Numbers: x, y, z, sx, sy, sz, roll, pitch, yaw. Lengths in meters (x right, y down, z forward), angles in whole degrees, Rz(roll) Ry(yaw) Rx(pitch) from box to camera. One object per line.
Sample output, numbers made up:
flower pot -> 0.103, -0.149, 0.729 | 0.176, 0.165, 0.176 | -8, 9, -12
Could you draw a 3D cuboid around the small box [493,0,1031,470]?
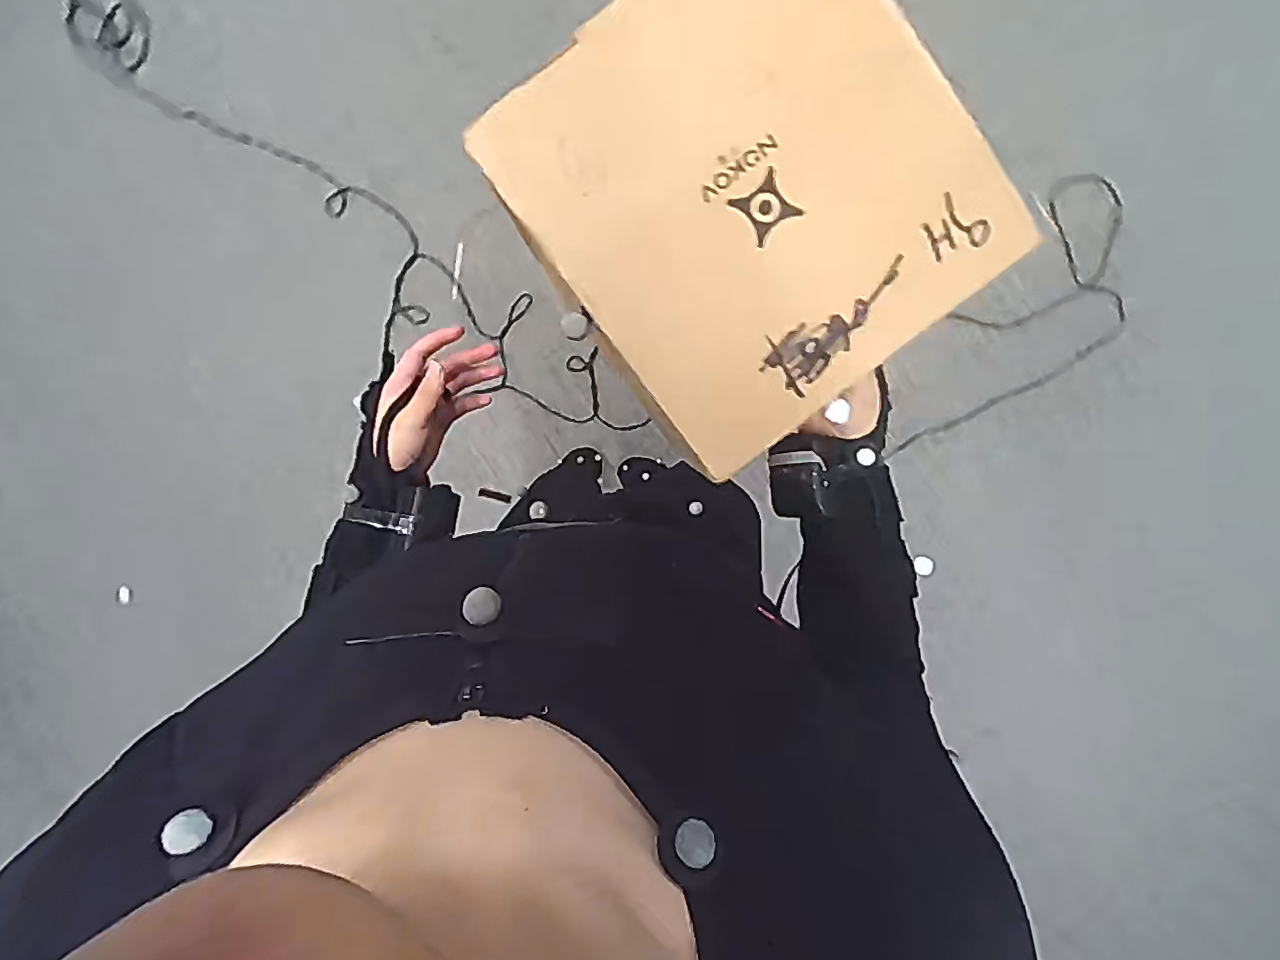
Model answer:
small box -> 0.052, -0.123, 0.308 | 0.168, 0.176, 0.179 | -37, 94, 4
